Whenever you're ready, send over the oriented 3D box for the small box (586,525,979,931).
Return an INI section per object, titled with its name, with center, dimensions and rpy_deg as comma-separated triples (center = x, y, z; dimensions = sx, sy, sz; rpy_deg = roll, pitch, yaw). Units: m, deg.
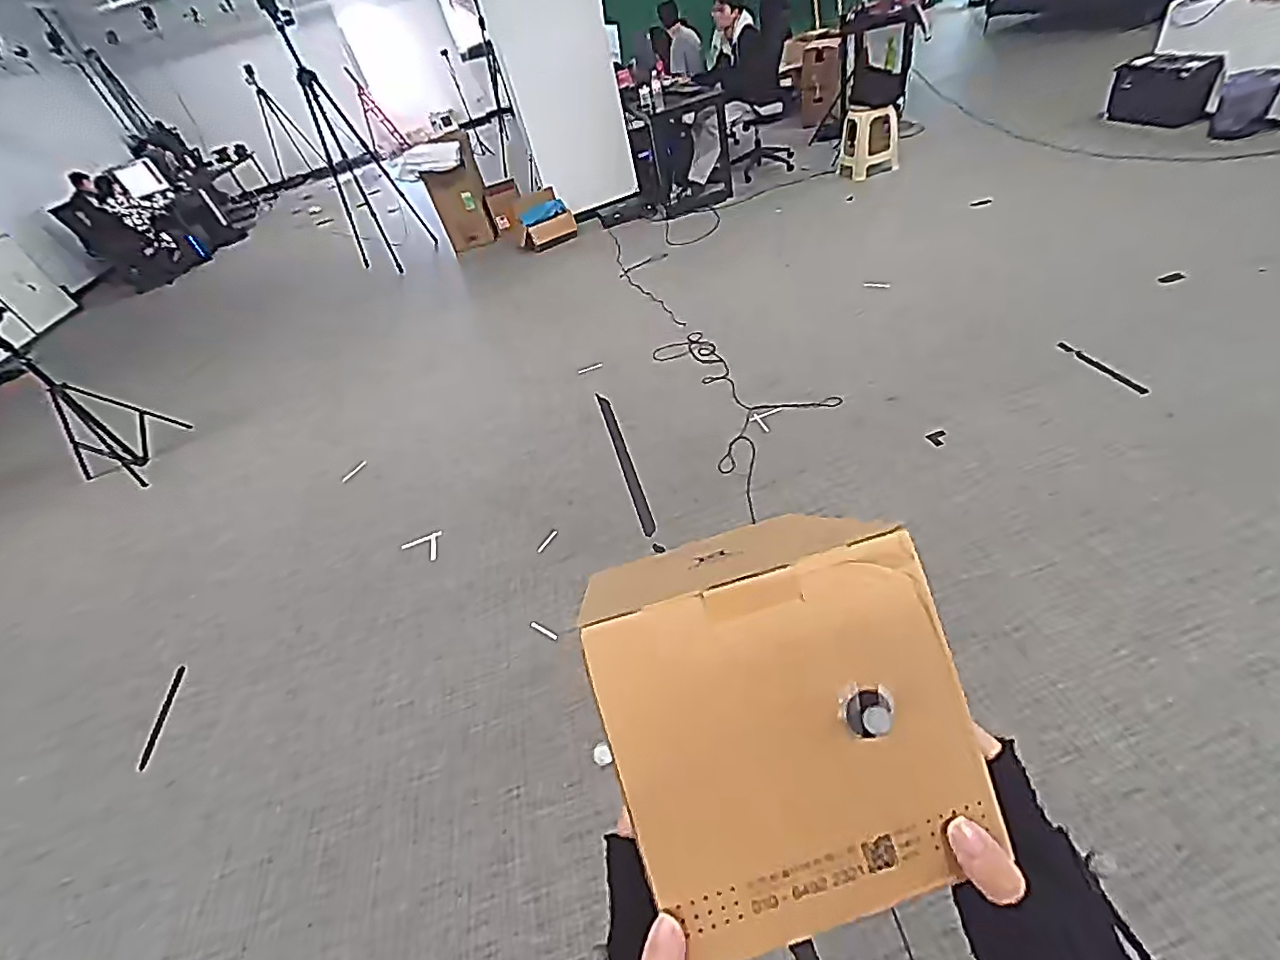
[small box]
center = 0.073, 0.137, 0.347
dimensions = 0.168, 0.176, 0.179
rpy_deg = -17, -2, -2
